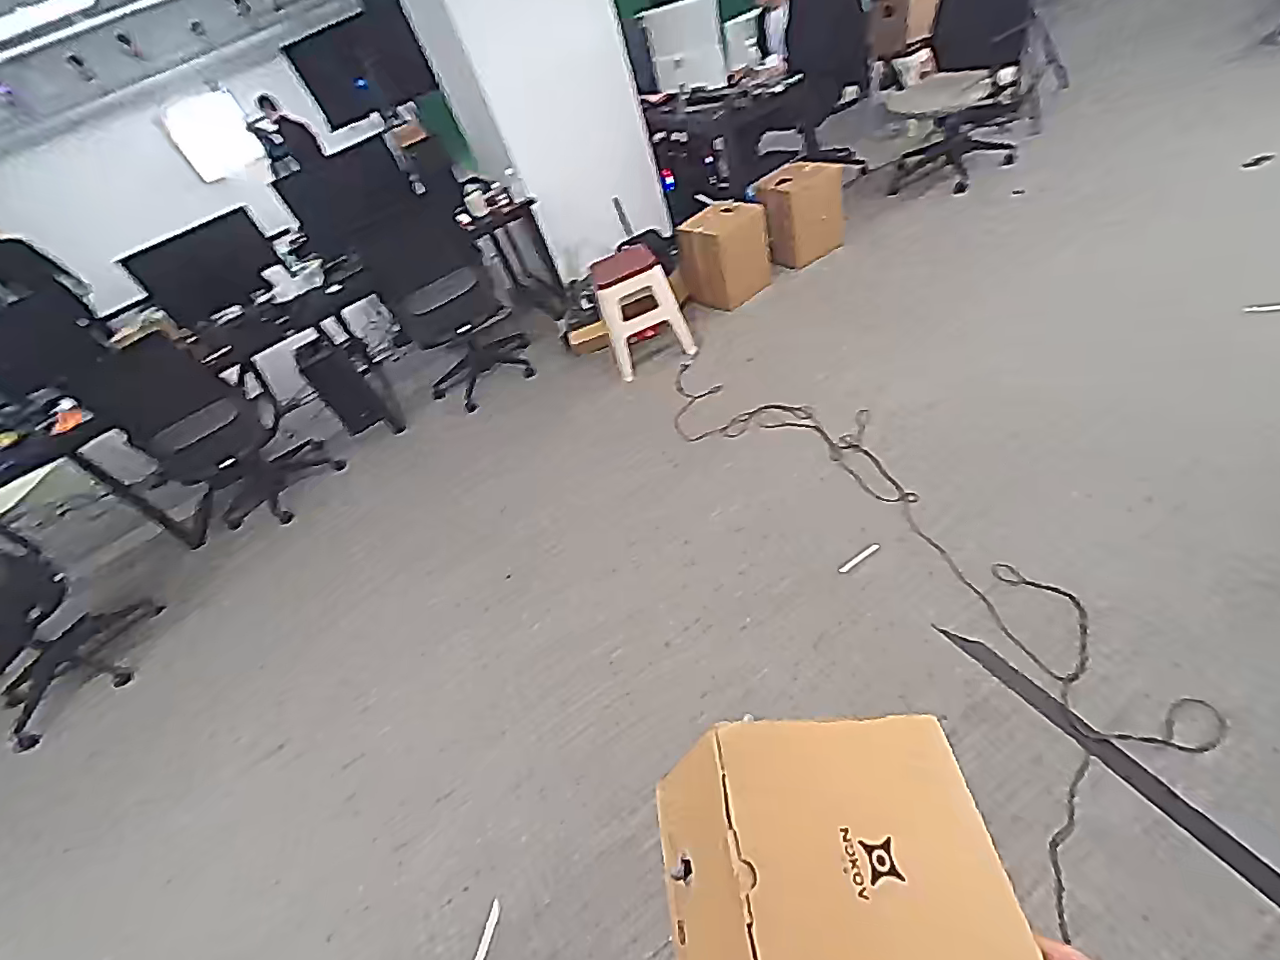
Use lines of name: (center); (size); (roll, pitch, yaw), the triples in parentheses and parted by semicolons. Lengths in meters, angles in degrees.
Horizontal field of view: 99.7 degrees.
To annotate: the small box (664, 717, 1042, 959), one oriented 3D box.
small box: (0.128, 0.281, 0.388); (0.179, 0.176, 0.168); (3, 49, -12)
